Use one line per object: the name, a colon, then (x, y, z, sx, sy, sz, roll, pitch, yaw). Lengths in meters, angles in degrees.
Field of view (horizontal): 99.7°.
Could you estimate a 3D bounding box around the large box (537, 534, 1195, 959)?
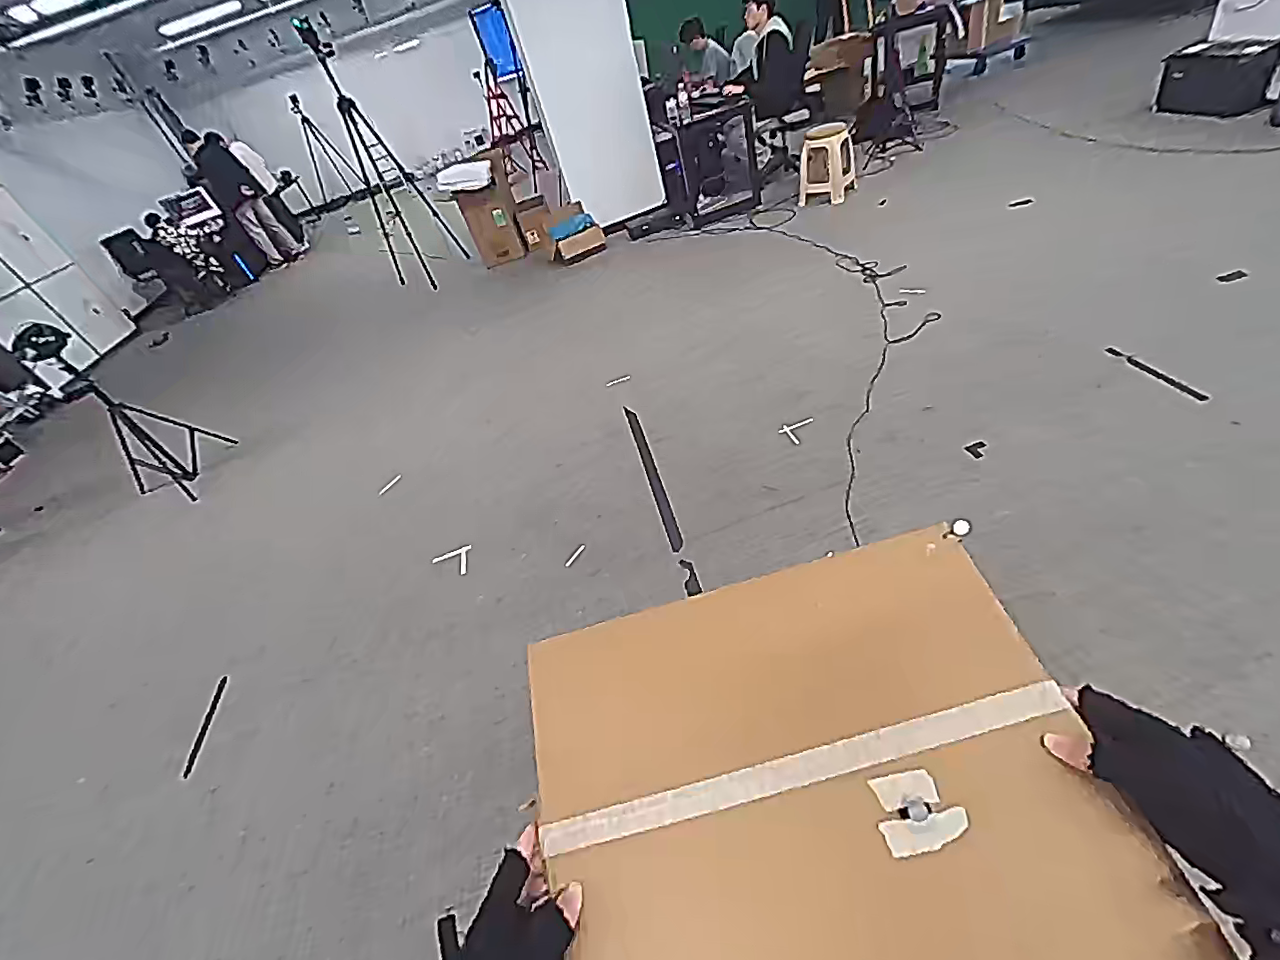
large box: (0.151, 0.311, 0.544, 0.408, 0.320, 0.320, -17, 54, 2)
